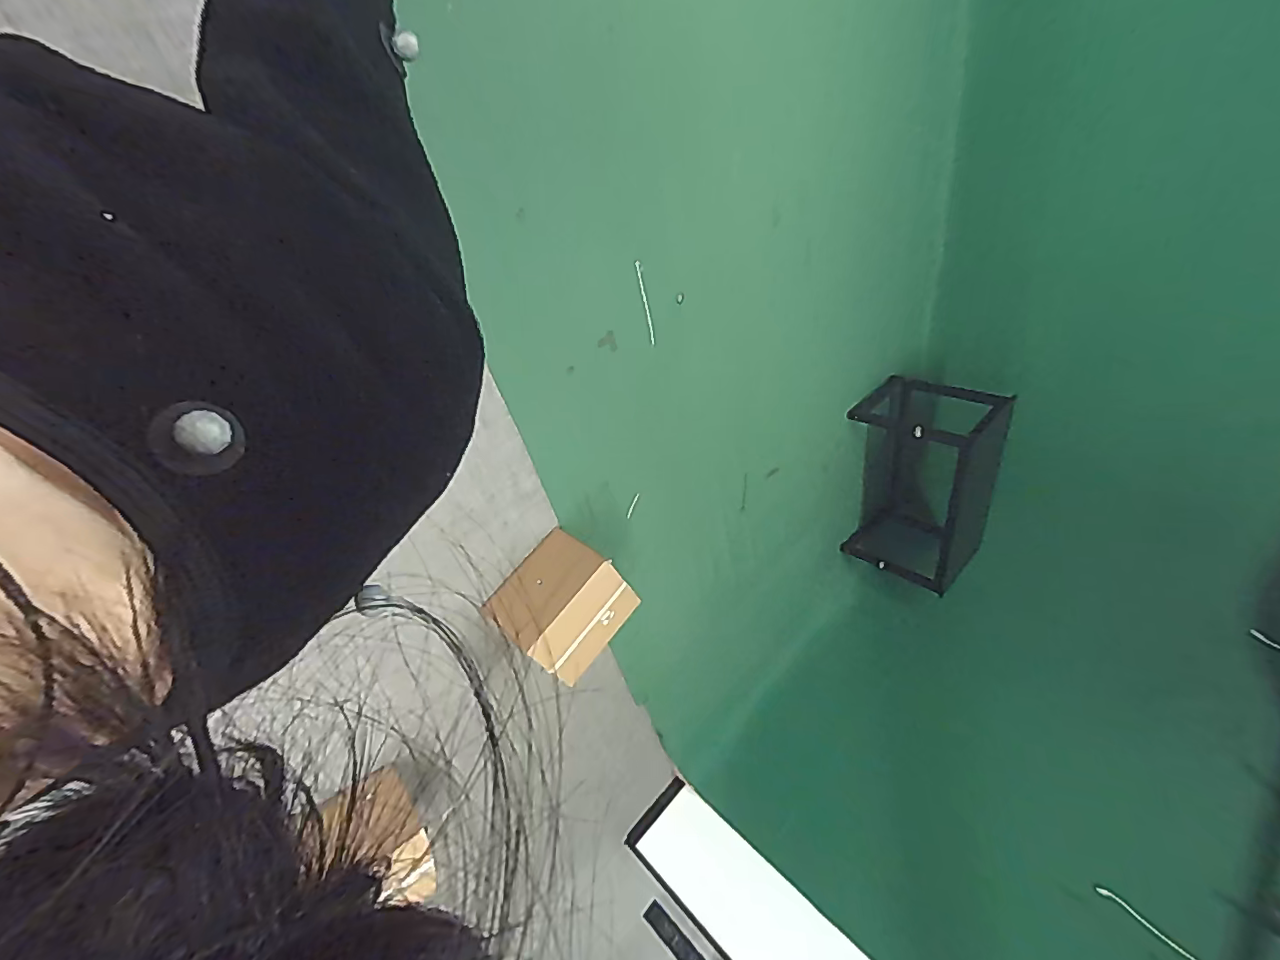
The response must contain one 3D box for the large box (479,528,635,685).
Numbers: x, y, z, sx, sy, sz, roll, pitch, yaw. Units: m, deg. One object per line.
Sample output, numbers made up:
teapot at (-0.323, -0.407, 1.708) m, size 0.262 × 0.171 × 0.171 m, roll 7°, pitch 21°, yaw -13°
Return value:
large box at (-0.300, 0.457, 1.987) m, size 0.408 × 0.320 × 0.320 m, roll -49°, pitch 137°, yaw -18°
